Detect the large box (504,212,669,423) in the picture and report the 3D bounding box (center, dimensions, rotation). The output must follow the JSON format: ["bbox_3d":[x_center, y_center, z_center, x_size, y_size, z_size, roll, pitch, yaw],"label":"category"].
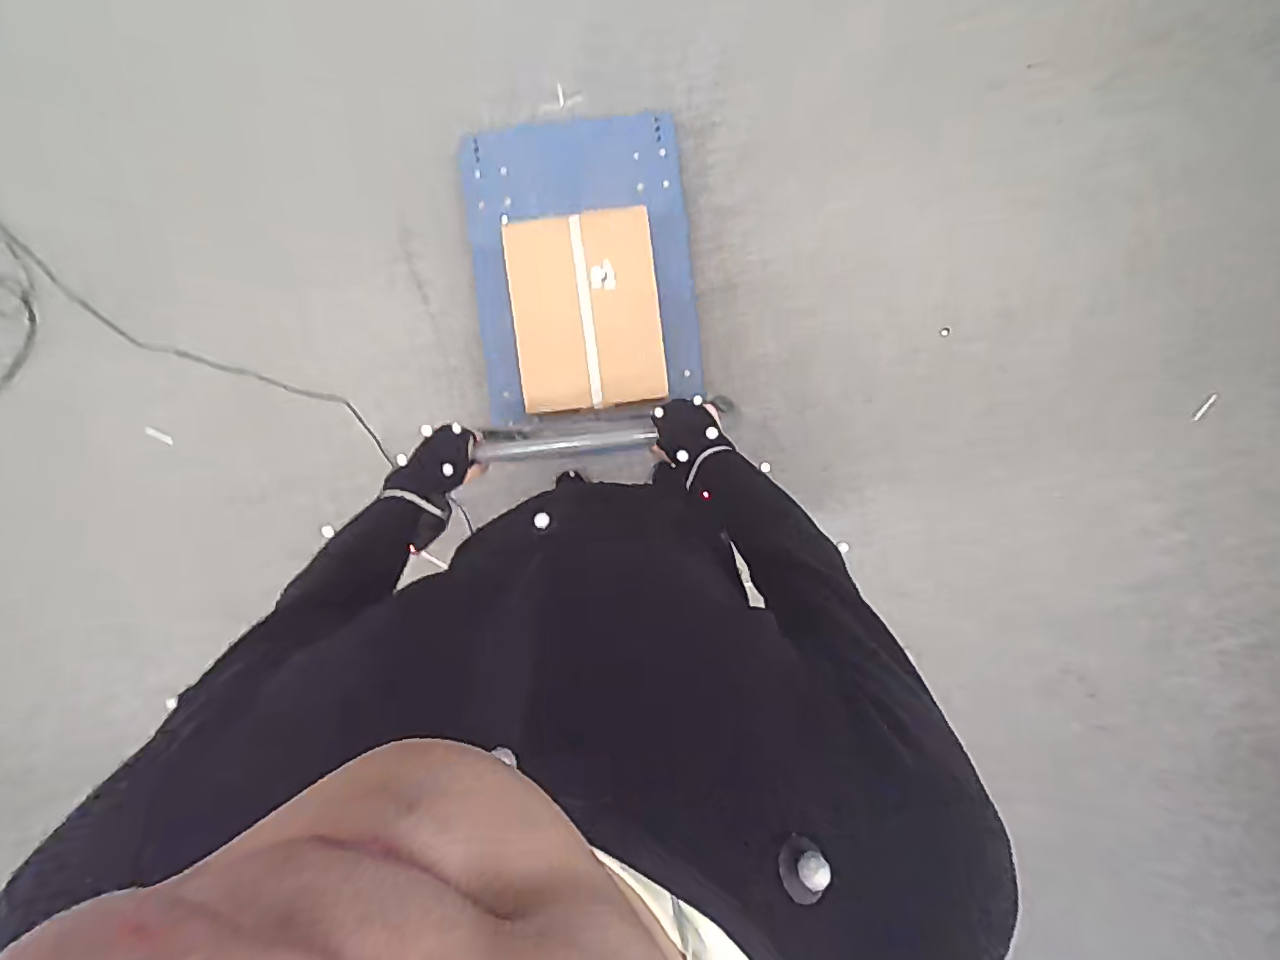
[{"bbox_3d":[-0.113,-0.364,1.312,0.320,0.320,0.408,-7,92,0],"label":"large box"}]
